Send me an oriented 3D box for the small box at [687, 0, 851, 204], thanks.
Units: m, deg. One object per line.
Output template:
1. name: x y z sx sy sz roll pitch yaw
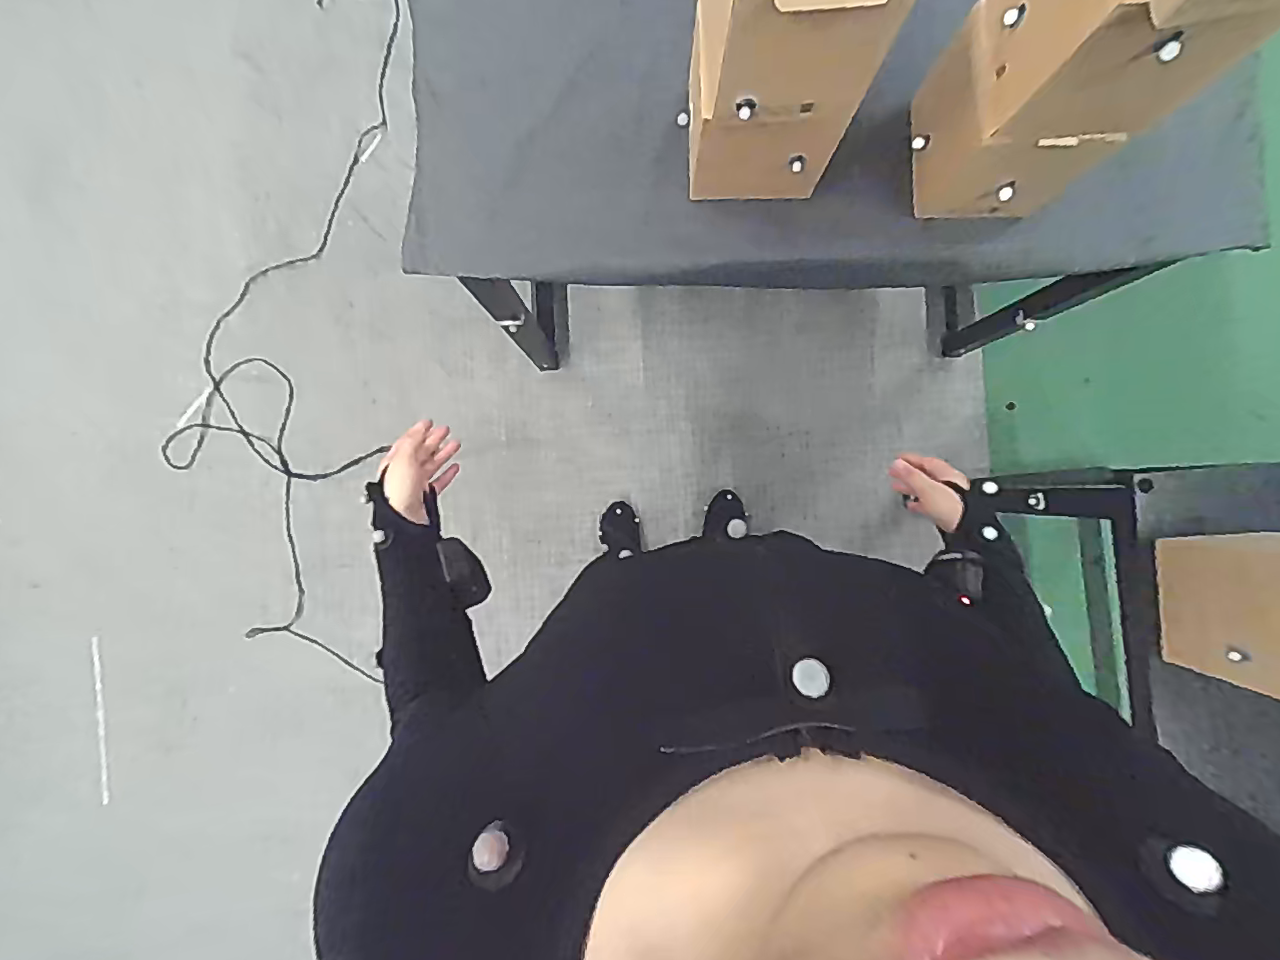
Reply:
1. small box: 0.155 -0.483 0.701 0.179 0.176 0.168 -2 87 2

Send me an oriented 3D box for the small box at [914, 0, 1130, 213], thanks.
1. small box: 0.470 -0.462 0.690 0.168 0.176 0.179 -1 88 2

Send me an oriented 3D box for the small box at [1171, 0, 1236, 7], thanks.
1. small box: 0.478 -0.470 0.362 0.168 0.176 0.179 -11 87 1

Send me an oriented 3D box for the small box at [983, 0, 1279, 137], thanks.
1. small box: 0.475 -0.470 0.528 0.179 0.176 0.168 -3 87 2

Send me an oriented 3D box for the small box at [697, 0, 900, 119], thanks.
1. small box: 0.150 -0.493 0.537 0.168 0.176 0.179 -5 86 1
